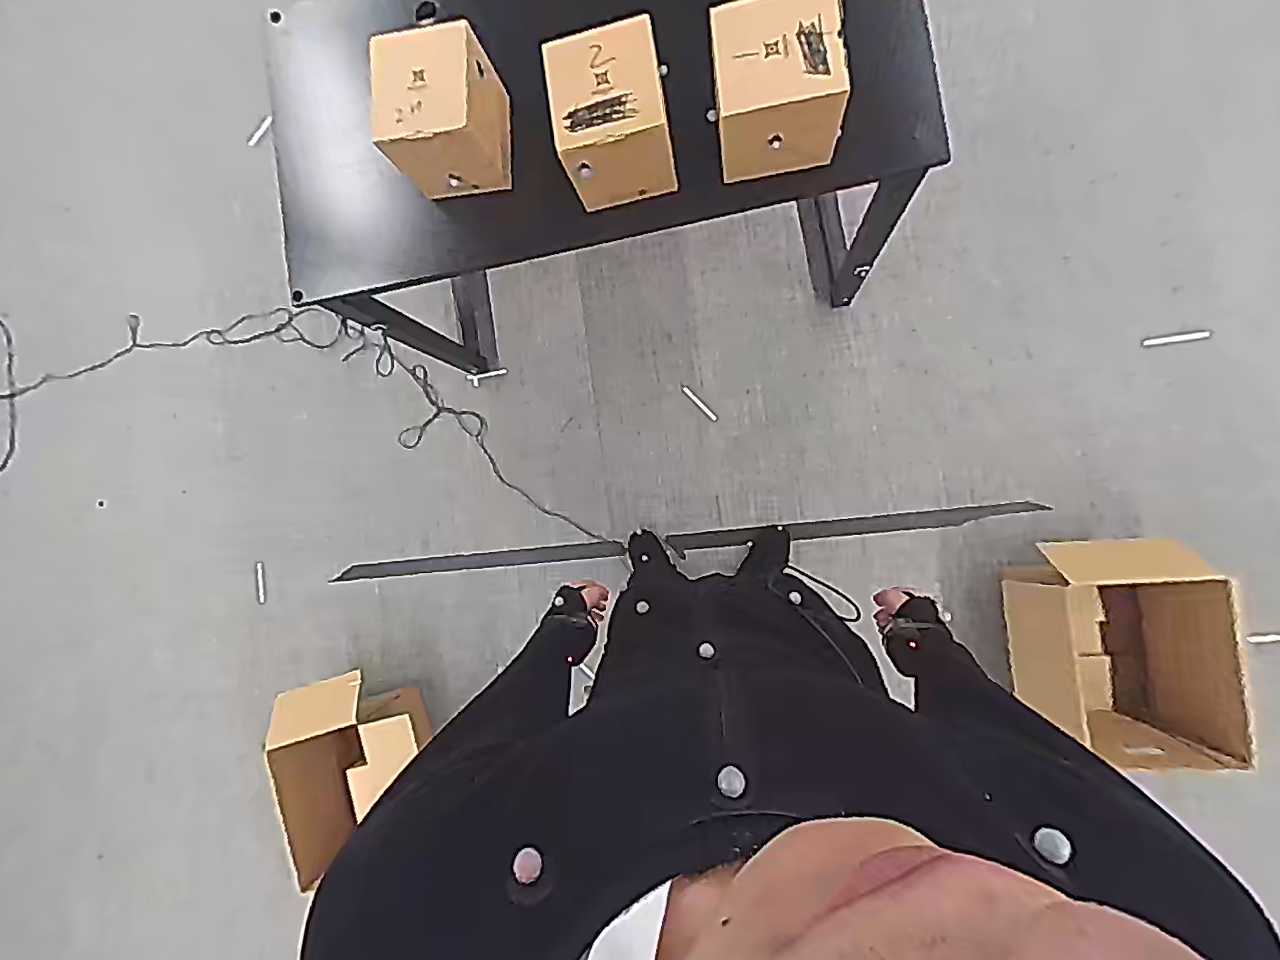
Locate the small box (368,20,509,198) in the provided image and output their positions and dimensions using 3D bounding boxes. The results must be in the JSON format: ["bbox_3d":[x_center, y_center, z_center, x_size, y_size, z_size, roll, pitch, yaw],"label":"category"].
[{"bbox_3d":[-0.332,-0.614,0.916,0.168,0.176,0.179,-2,88,10],"label":"small box"}]

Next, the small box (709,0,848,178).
[{"bbox_3d":[0.203,-0.596,0.822,0.179,0.176,0.168,-6,87,11],"label":"small box"}]
